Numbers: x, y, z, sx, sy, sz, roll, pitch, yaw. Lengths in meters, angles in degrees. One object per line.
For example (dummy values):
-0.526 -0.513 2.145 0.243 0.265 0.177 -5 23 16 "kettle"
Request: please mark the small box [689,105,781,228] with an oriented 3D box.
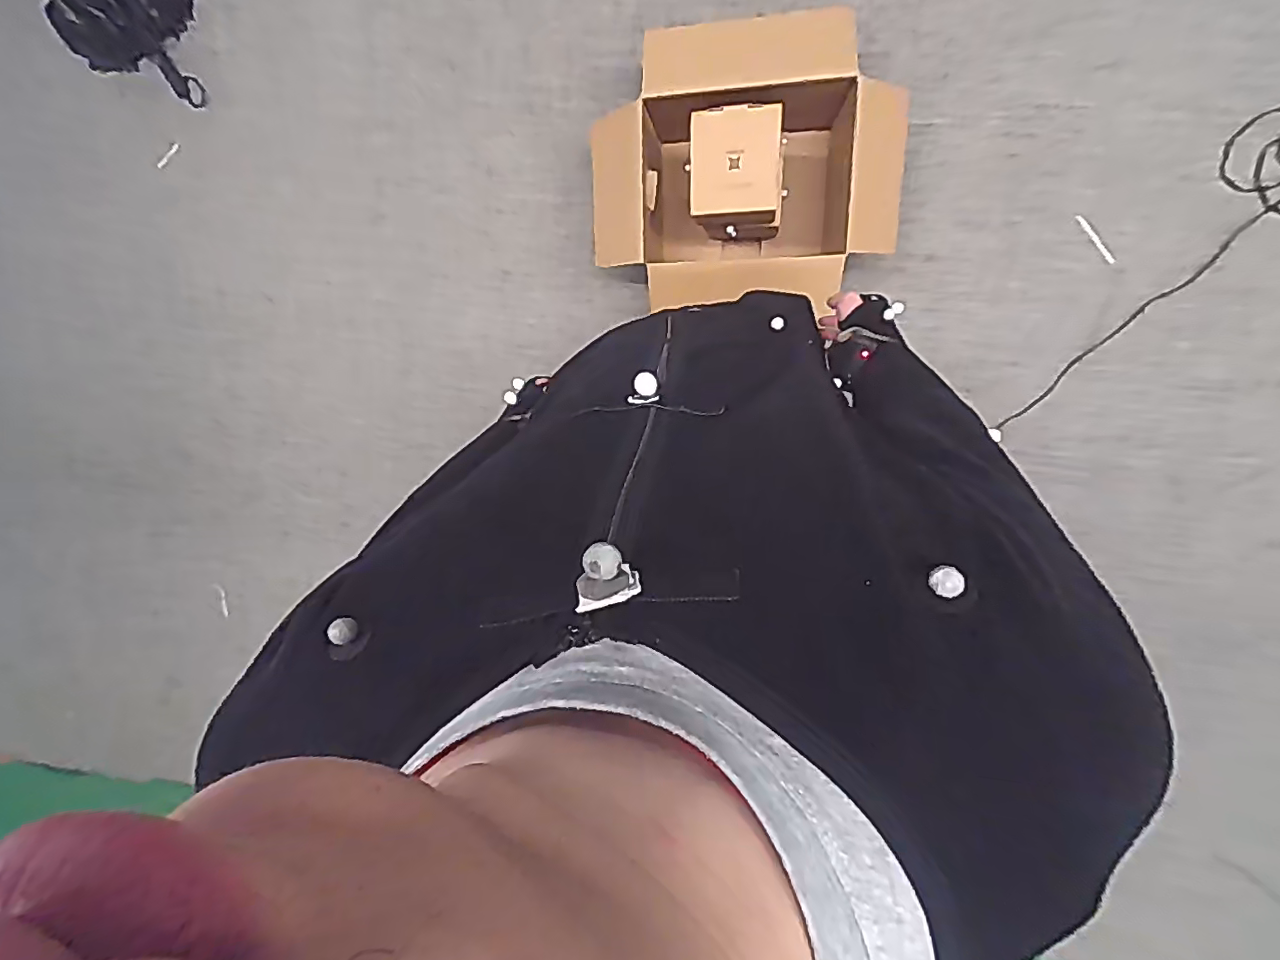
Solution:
0.189 -0.614 1.080 0.168 0.176 0.179 2 108 11 "small box"
